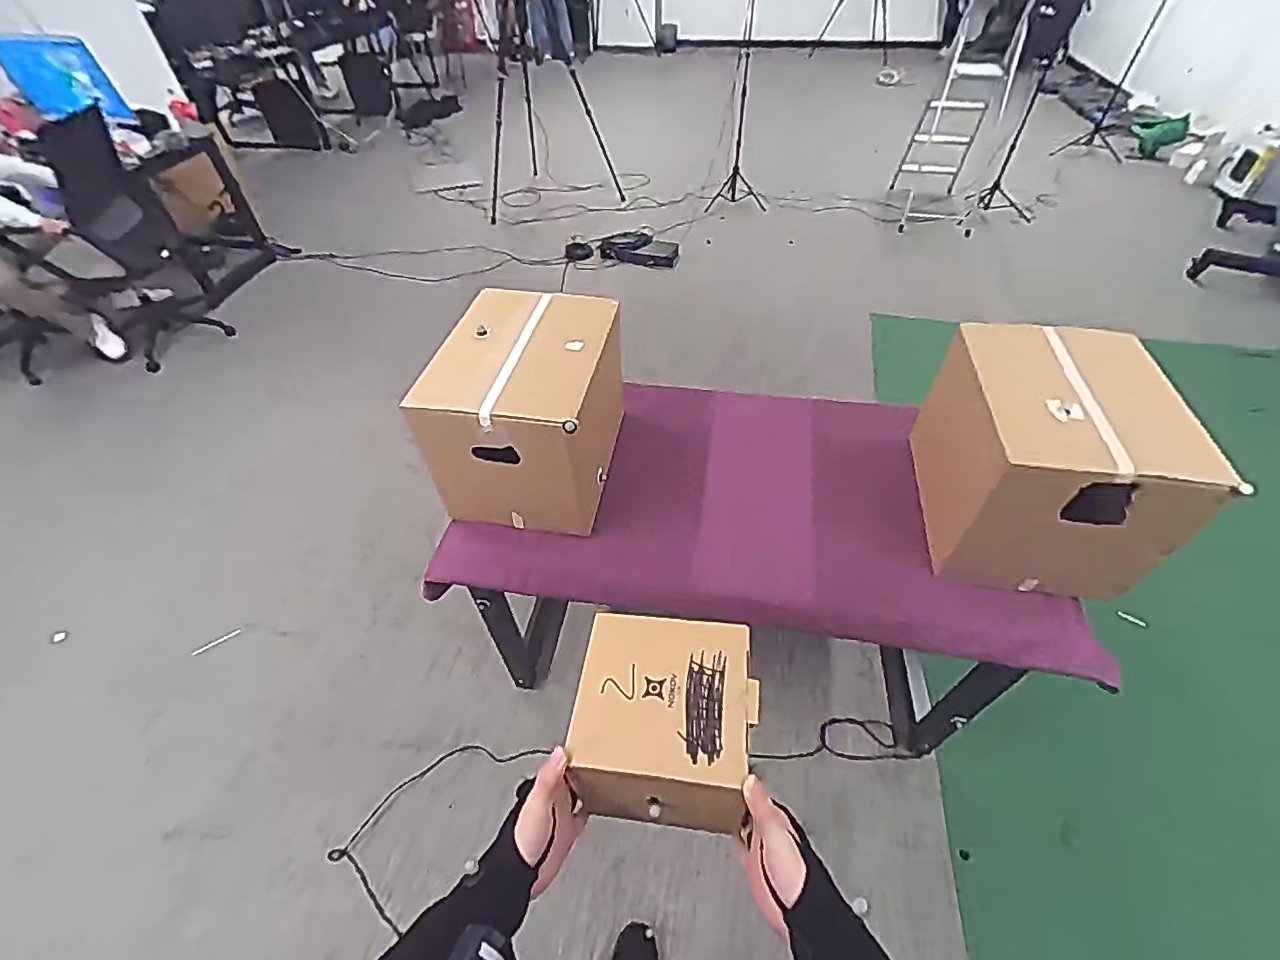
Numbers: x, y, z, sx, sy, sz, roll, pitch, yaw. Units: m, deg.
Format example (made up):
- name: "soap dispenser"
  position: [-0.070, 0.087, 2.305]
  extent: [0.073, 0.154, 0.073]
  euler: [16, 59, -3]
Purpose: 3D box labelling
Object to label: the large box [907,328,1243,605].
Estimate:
- name: "large box"
  position: [0.739, -0.035, 1.019]
  extent: [0.320, 0.320, 0.408]
  euler: [7, 49, 9]
